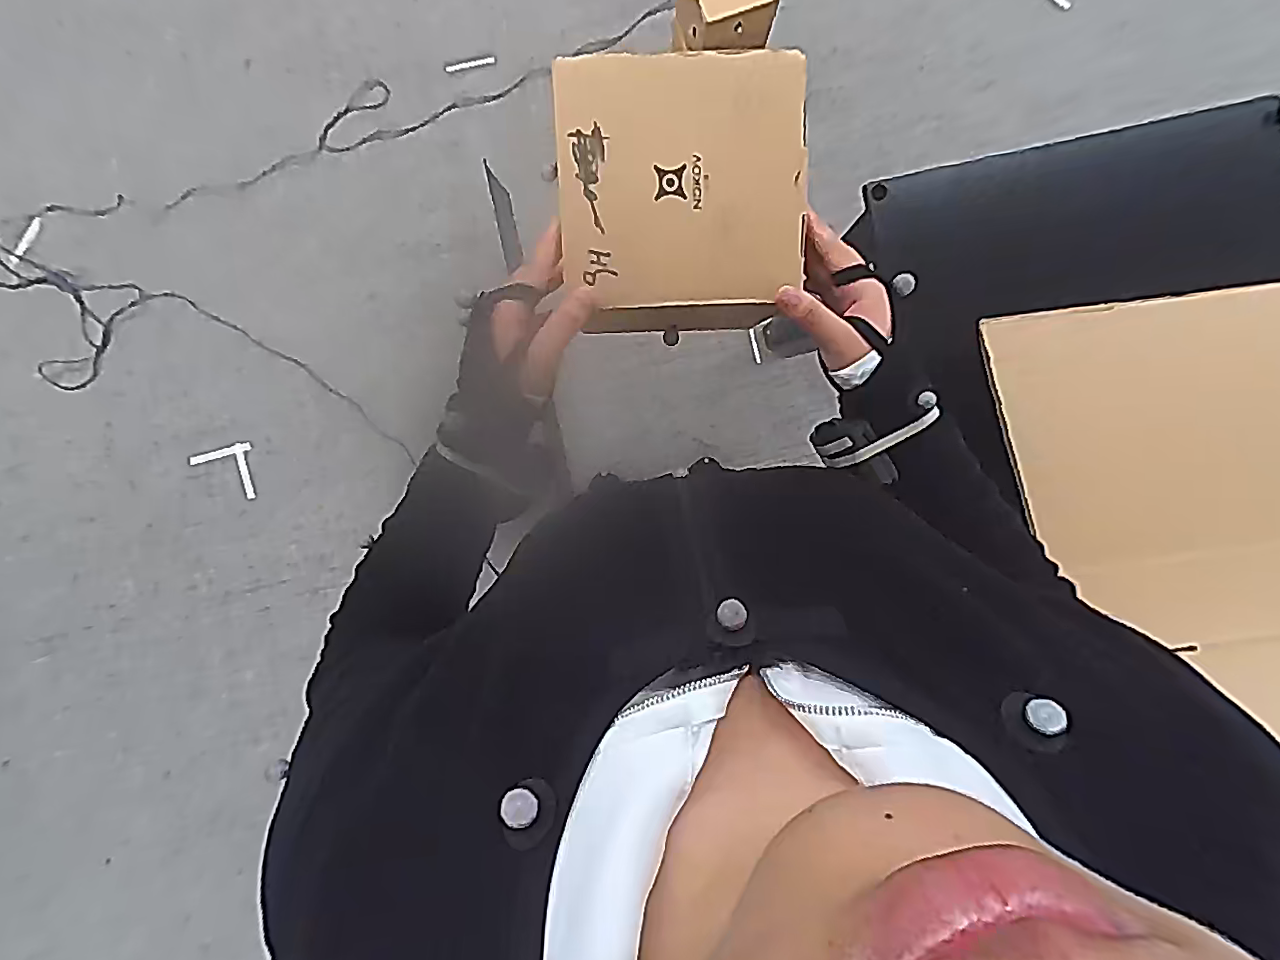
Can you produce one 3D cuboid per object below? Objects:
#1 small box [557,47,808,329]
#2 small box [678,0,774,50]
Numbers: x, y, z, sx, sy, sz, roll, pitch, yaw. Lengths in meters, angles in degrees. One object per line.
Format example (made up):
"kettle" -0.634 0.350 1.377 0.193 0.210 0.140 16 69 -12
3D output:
"small box" 0.027 -0.225 0.459 0.179 0.176 0.168 -3 98 -3
"small box" 0.192 -1.096 1.249 0.179 0.176 0.168 -19 91 -1
